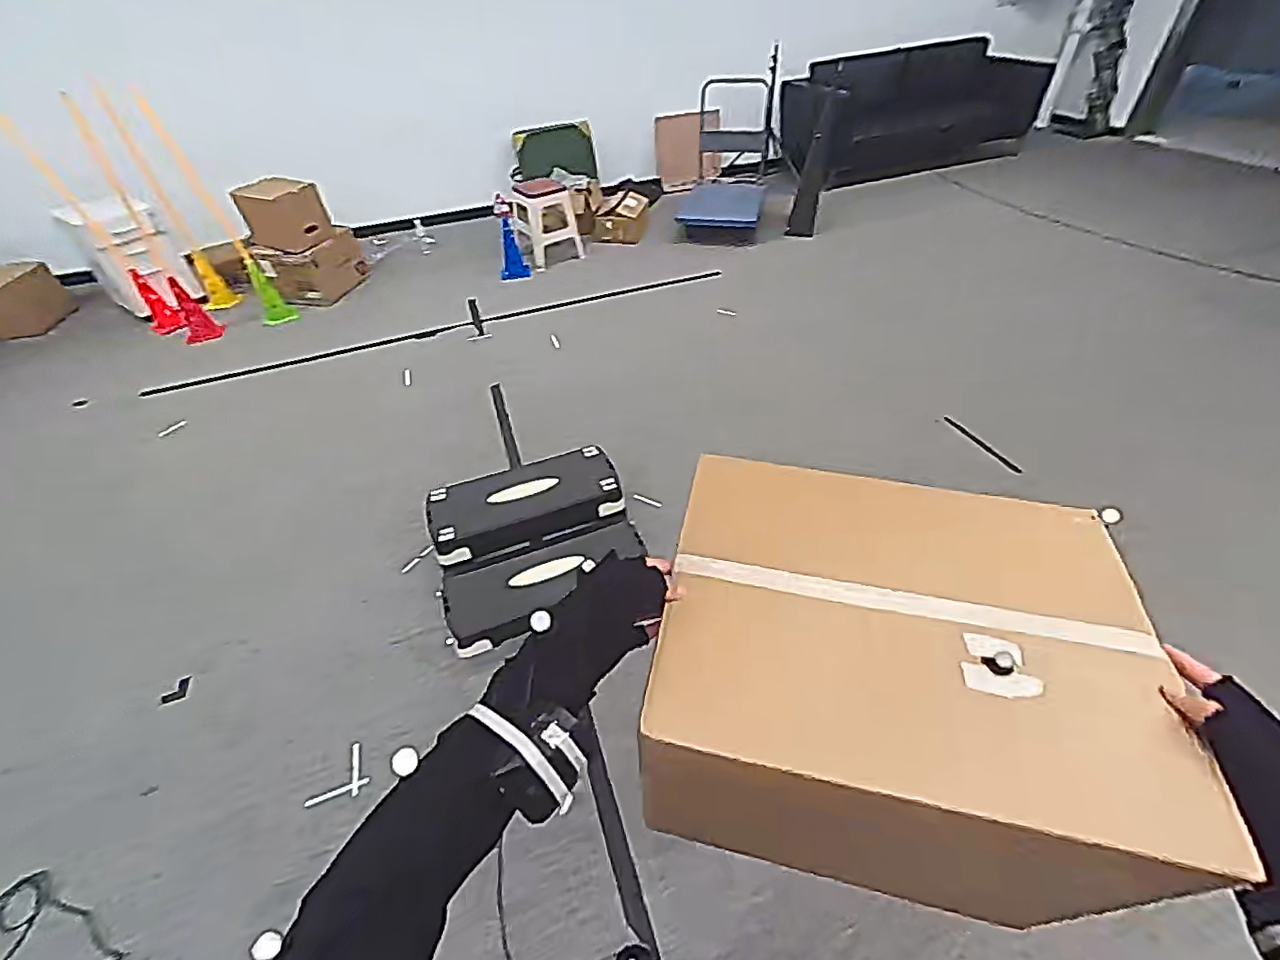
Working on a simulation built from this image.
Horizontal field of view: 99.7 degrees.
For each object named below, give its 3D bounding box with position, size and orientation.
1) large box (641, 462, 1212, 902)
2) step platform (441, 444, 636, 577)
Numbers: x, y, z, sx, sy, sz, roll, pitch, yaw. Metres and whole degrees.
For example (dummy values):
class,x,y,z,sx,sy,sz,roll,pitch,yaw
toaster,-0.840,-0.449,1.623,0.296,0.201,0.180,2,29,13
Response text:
class,x,y,z,sx,sy,sz,roll,pitch,yaw
large box,0.222,0.214,0.598,0.408,0.320,0.320,8,47,9
step platform,-0.365,0.096,1.977,0.684,0.204,0.286,-17,45,-15
